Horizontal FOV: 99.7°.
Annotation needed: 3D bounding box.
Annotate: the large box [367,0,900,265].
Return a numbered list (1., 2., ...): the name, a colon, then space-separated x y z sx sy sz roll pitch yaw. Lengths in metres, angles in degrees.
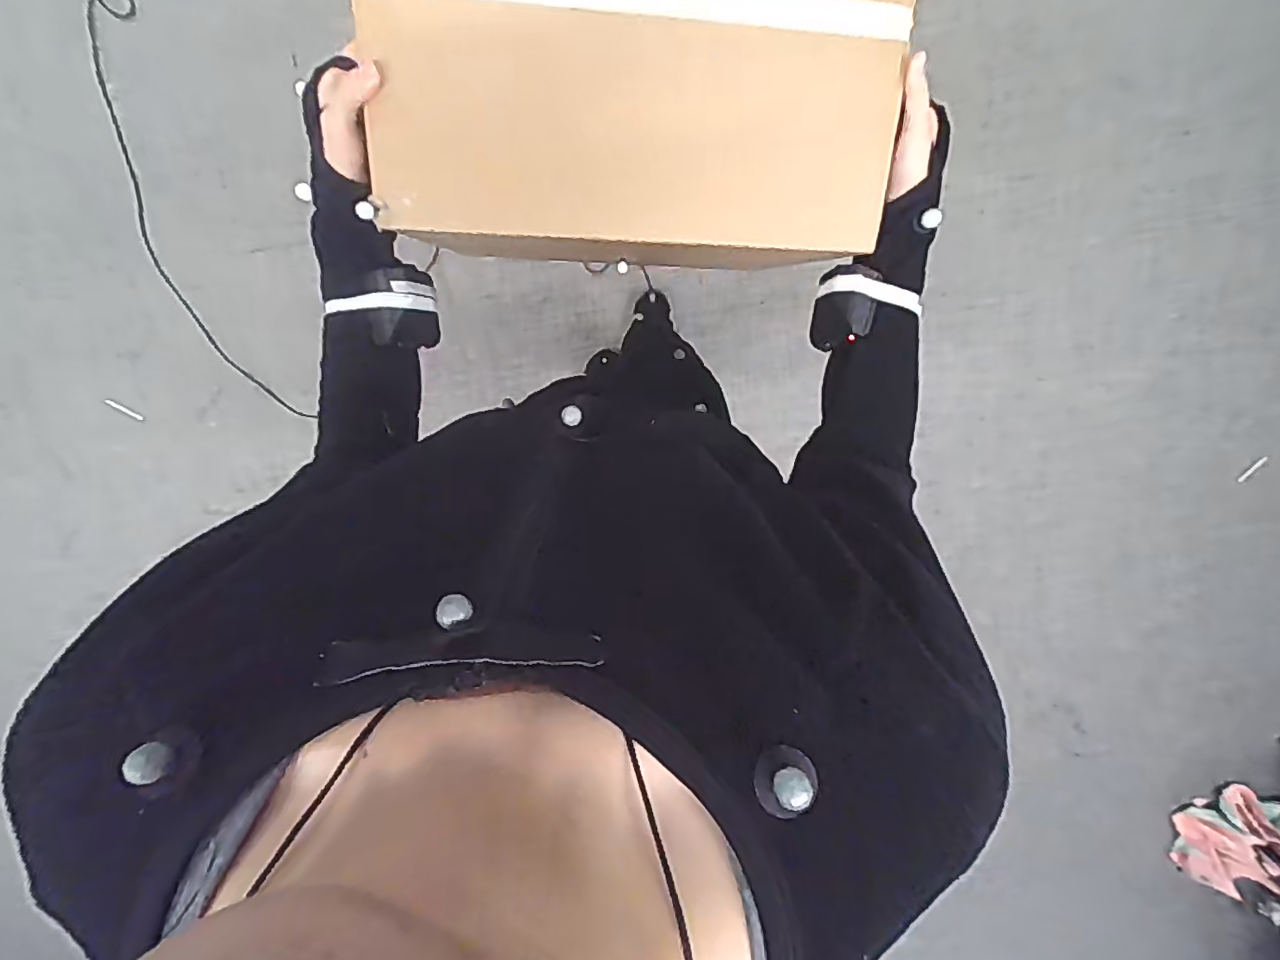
1. large box: -0.012 -0.390 0.544 0.408 0.320 0.320 0 108 -6
